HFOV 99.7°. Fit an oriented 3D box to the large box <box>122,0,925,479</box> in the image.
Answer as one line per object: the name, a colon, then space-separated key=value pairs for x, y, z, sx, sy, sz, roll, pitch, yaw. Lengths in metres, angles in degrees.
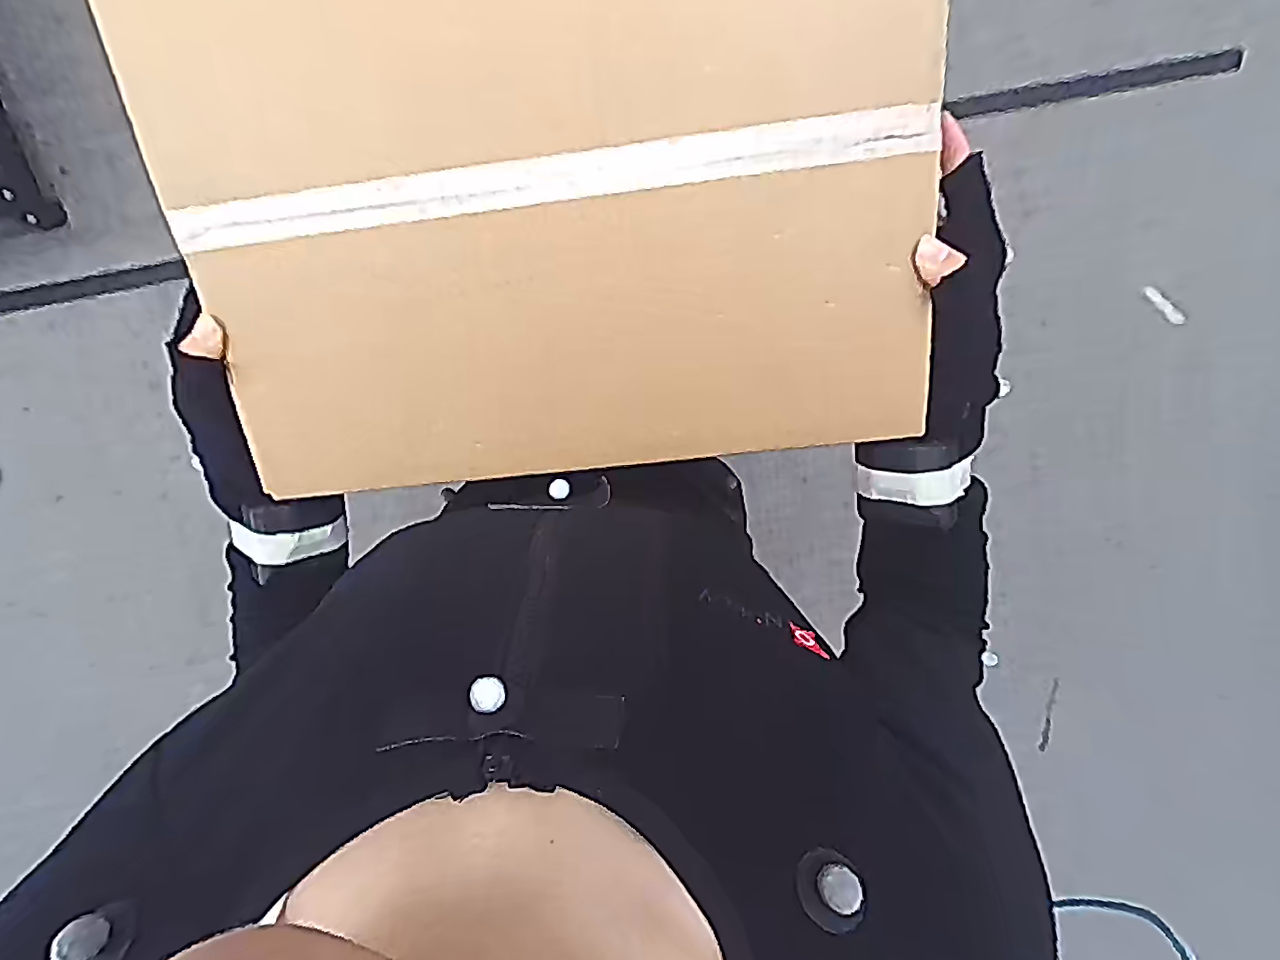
large box: x=-0.050 y=-0.211 z=0.432 sx=0.408 sy=0.320 sz=0.320 roll=-6 pitch=109 yaw=4
